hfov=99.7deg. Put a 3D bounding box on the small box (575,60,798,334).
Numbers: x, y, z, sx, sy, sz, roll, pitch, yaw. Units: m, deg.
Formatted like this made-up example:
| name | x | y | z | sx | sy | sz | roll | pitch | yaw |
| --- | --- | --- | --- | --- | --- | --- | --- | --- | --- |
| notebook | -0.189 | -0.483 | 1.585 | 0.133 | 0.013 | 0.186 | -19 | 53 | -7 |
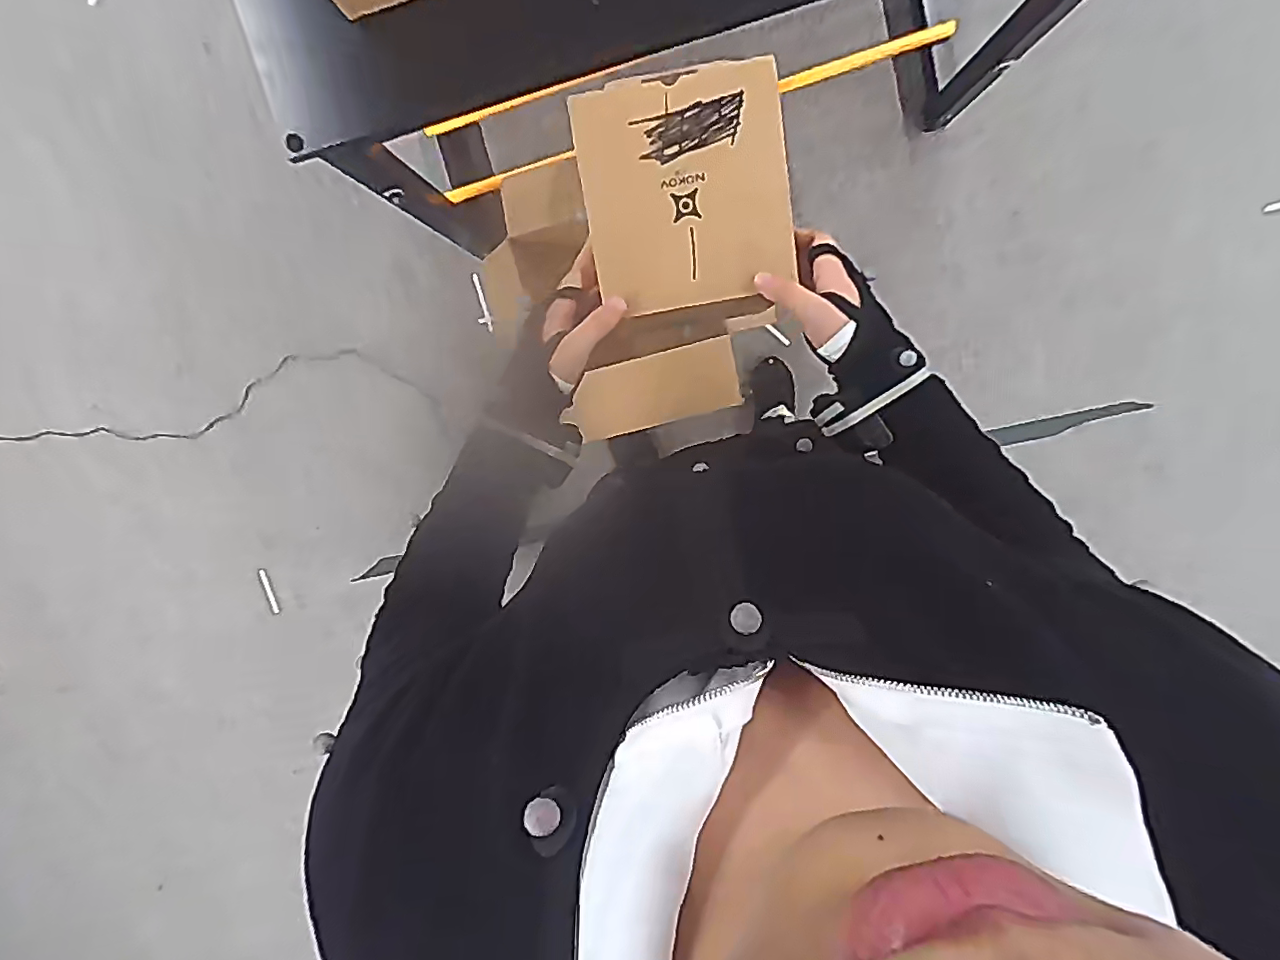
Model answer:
| name | x | y | z | sx | sy | sz | roll | pitch | yaw |
| --- | --- | --- | --- | --- | --- | --- | --- | --- | --- |
| small box | 0.042 | -0.247 | 0.520 | 0.168 | 0.176 | 0.179 | -9 | 100 | 4 |
